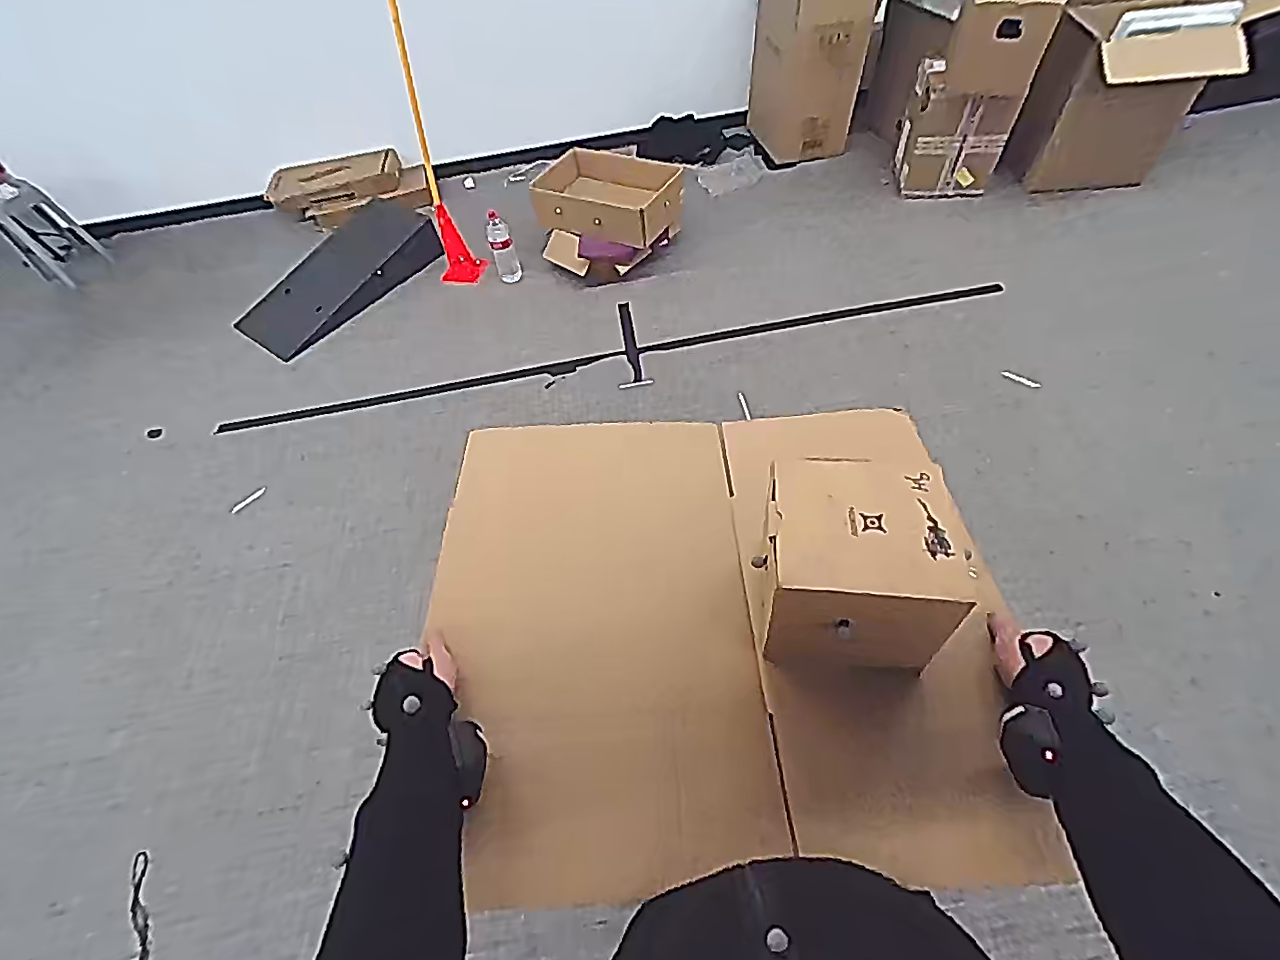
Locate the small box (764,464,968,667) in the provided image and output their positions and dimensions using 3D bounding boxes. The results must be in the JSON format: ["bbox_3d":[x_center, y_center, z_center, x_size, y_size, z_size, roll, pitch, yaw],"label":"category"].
[{"bbox_3d":[0.232,0.098,0.610,0.179,0.176,0.168,2,51,10],"label":"small box"}]
